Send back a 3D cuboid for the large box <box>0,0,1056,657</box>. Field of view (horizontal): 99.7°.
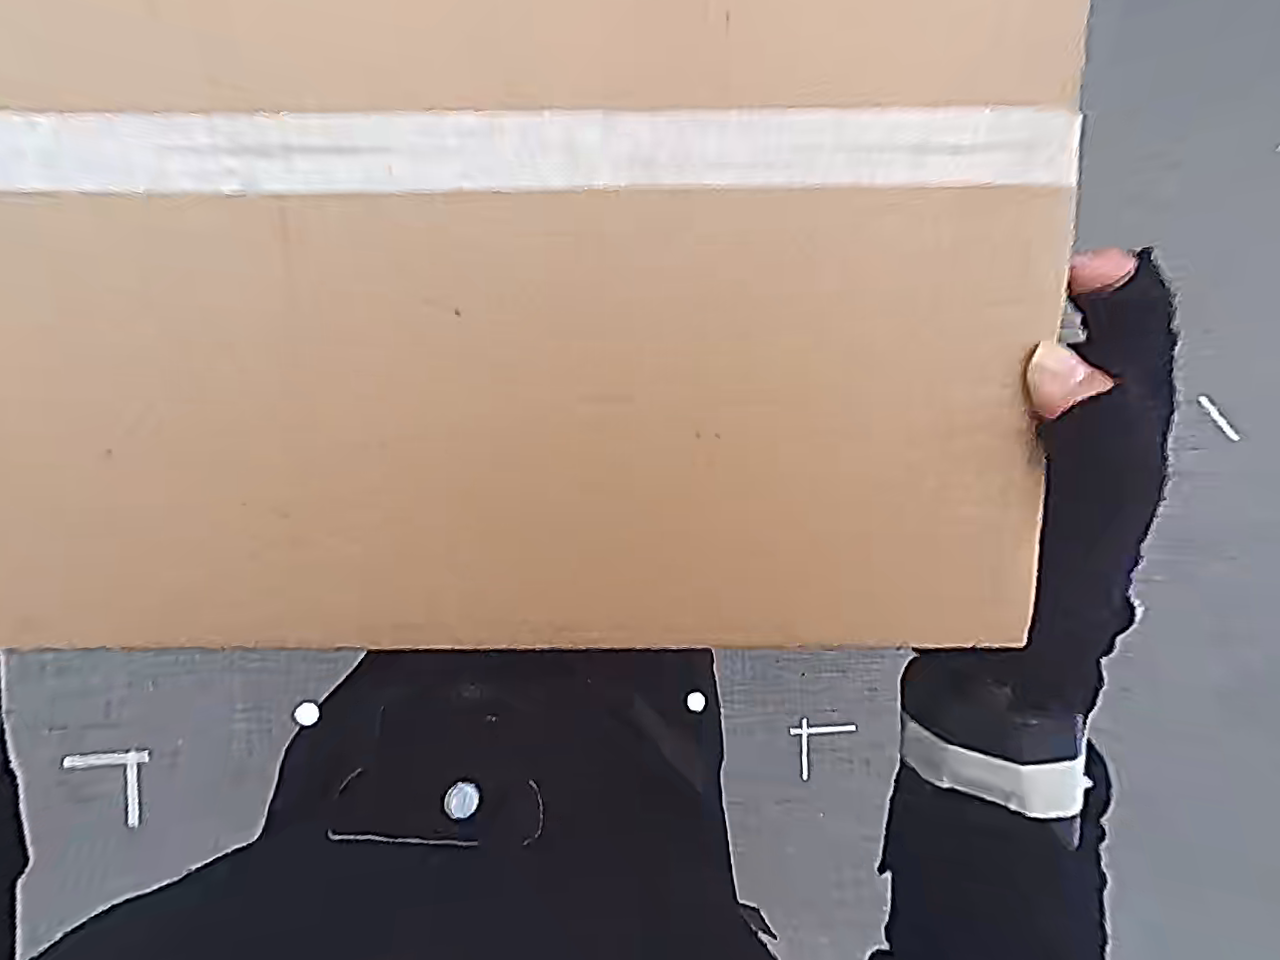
[{"bbox_3d":[-0.072,-0.111,0.320,0.408,0.320,0.320,0,97,0],"label":"large box"}]
